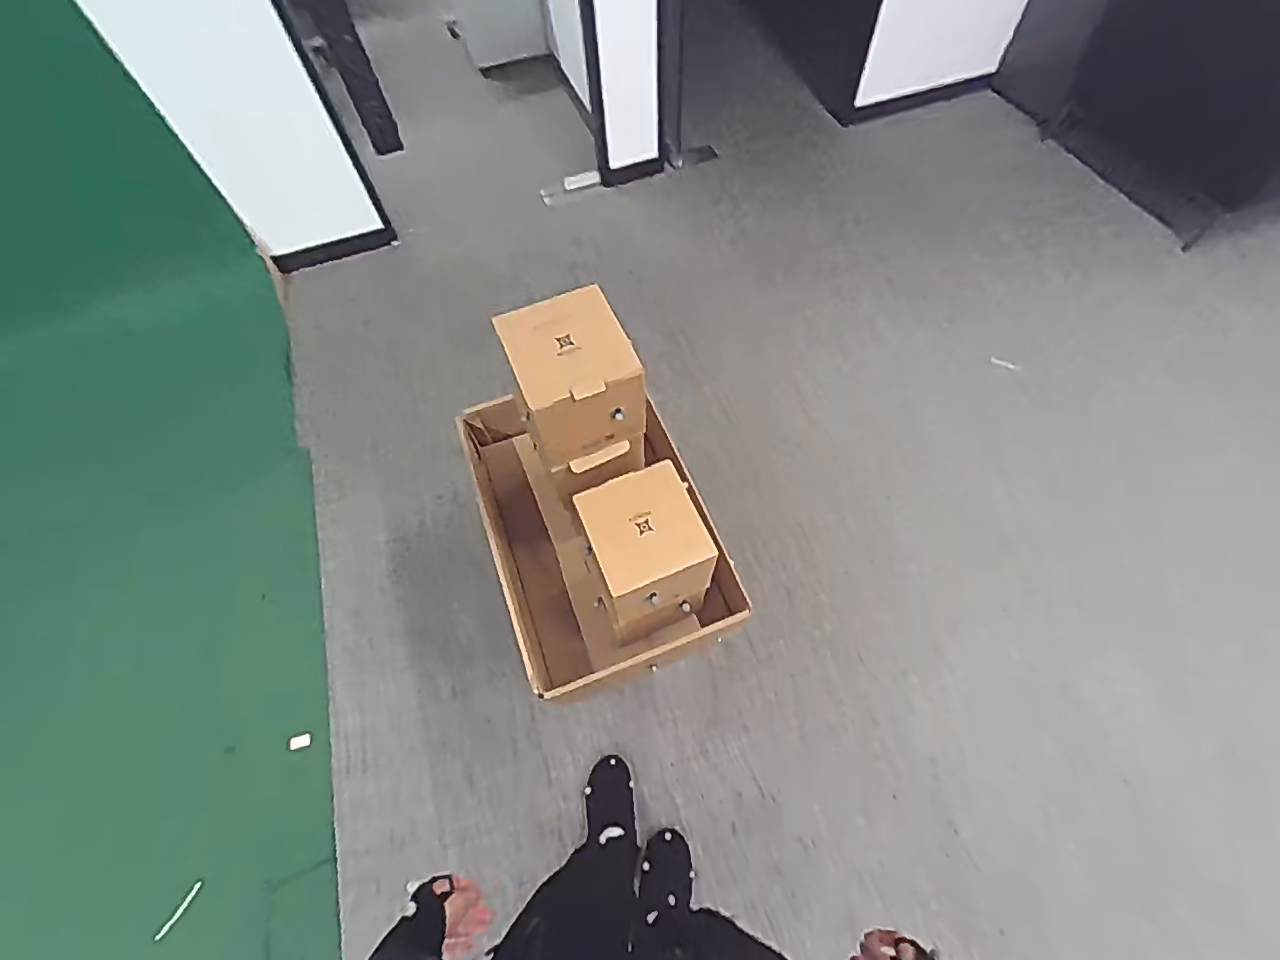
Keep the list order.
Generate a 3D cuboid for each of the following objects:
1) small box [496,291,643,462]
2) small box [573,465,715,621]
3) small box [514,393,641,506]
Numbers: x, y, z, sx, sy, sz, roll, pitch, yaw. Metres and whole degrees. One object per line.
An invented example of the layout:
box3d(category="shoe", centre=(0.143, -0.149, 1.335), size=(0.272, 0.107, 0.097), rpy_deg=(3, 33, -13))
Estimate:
box3d(category="small box", centre=(-0.099, -0.146, 0.826), size=(0.168, 0.176, 0.179), rpy_deg=(-21, 65, -10))
box3d(category="small box", centre=(0.007, 0.111, 0.867), size=(0.168, 0.176, 0.179), rpy_deg=(-21, 62, -9))
box3d(category="small box", centre=(-0.104, -0.072, 0.971), size=(0.168, 0.176, 0.179), rpy_deg=(-24, 65, -11))
